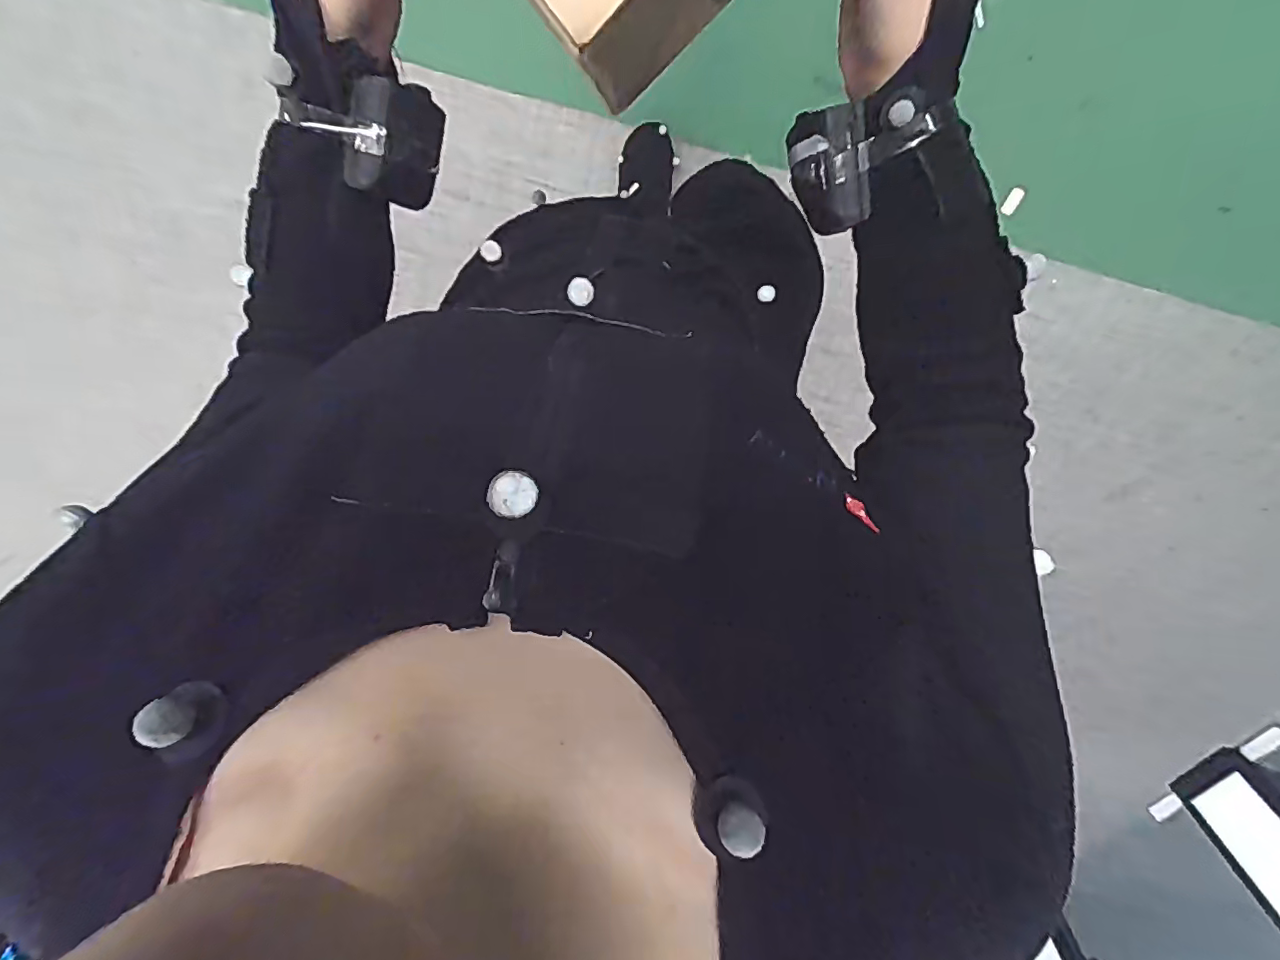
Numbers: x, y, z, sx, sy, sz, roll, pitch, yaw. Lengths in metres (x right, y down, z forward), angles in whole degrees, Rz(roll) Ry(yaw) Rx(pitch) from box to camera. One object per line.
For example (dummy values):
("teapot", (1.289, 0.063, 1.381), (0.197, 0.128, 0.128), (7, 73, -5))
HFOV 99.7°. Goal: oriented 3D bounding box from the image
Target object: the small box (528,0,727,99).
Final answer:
("small box", (-0.006, -0.310, 0.233), (0.179, 0.176, 0.168), (-36, 110, 20))
